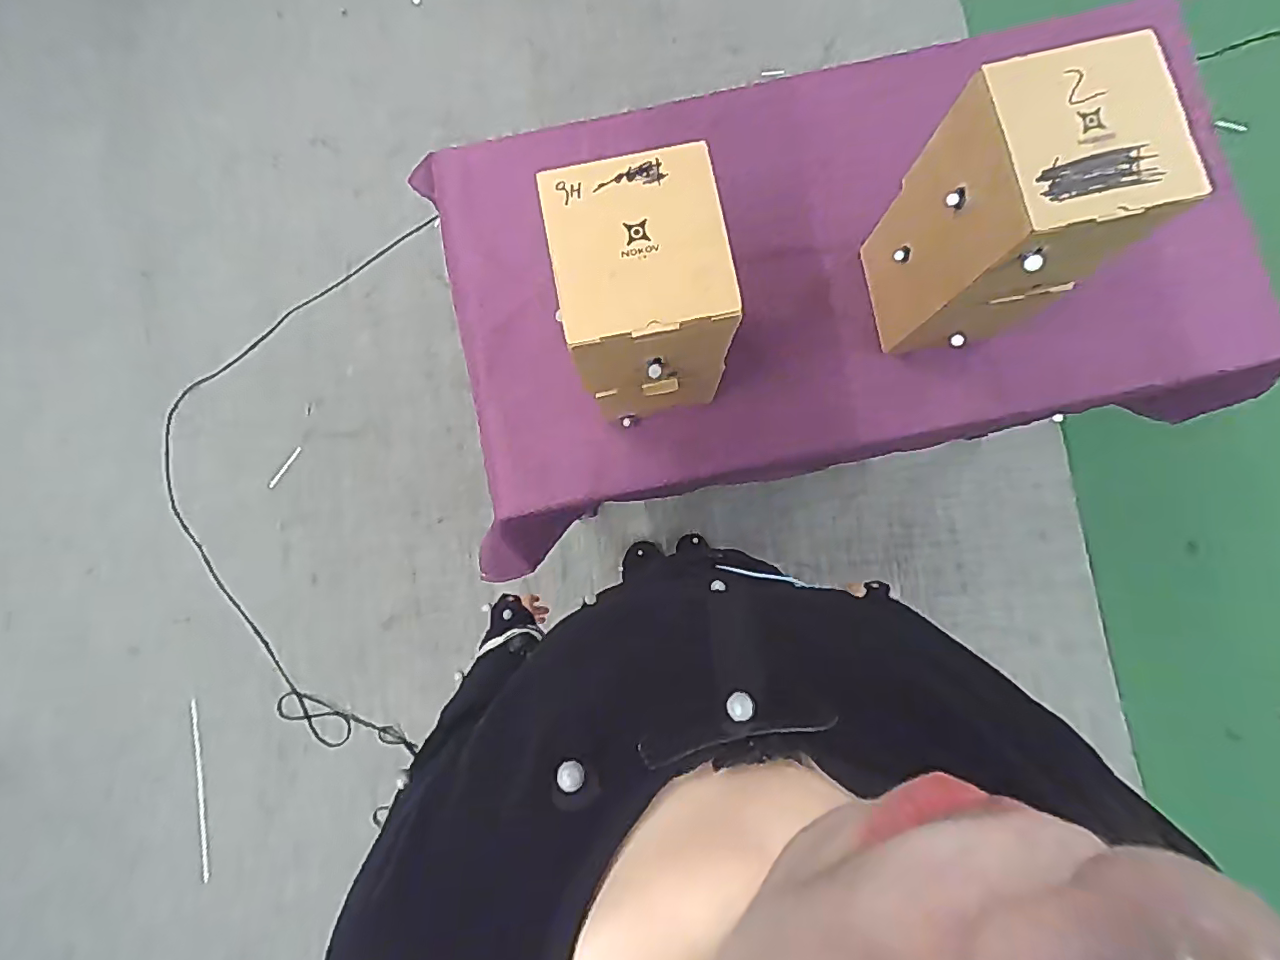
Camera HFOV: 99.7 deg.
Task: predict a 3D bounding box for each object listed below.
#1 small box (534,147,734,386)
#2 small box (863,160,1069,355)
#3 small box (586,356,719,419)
[{"bbox_3d":[-0.004,-0.208,0.581,0.168,0.176,0.179,-11,85,0],"label":"small box"},{"bbox_3d":[0.426,-0.292,0.740,0.168,0.176,0.179,-10,84,1],"label":"small box"},{"bbox_3d":[0.004,-0.191,0.744,0.168,0.176,0.179,-12,83,0],"label":"small box"}]
